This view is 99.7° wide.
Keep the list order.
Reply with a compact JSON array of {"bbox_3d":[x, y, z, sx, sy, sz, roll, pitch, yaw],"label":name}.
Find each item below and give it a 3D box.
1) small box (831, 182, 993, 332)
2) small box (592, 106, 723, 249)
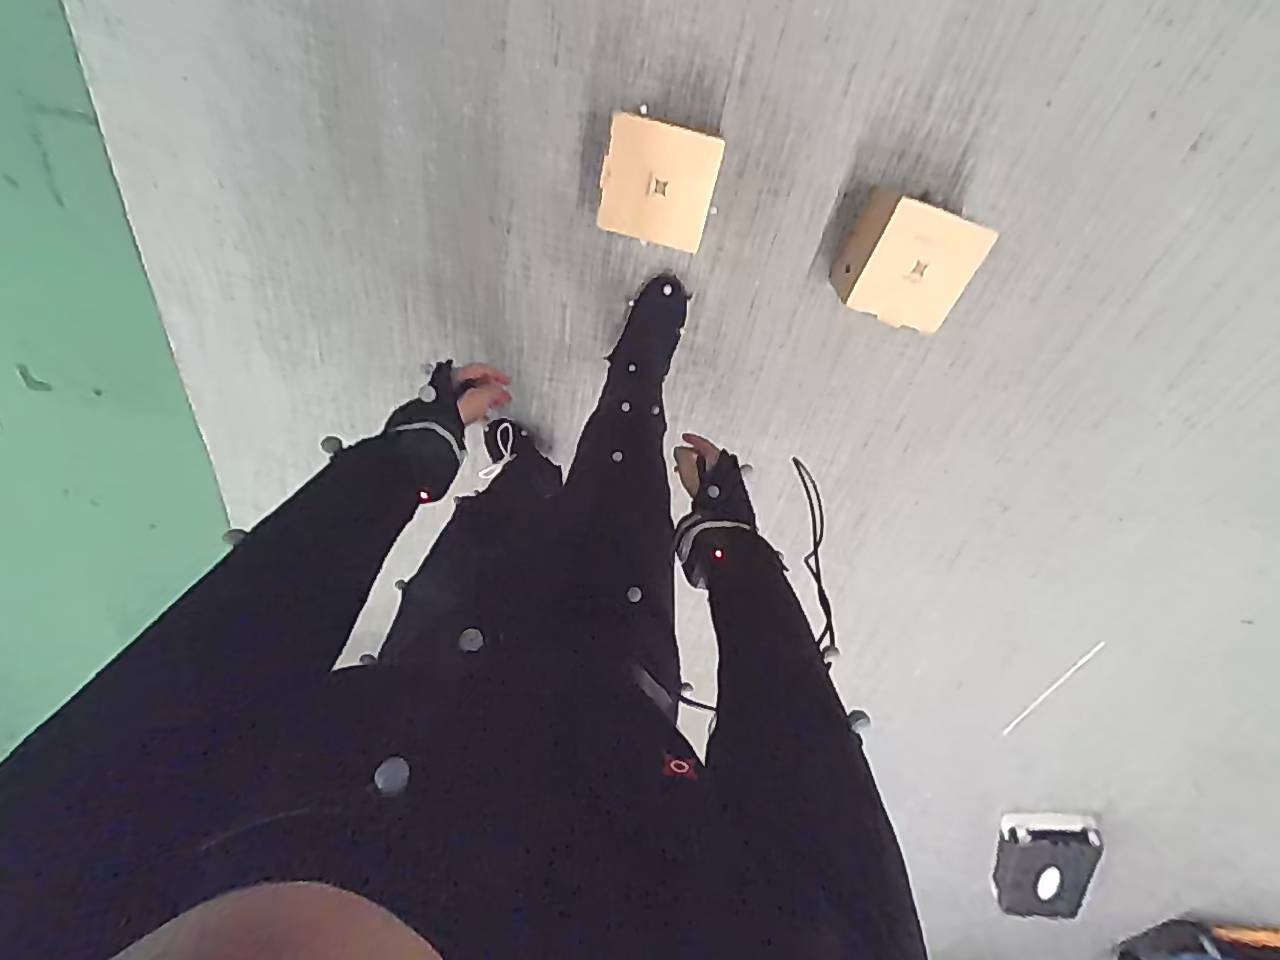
[{"bbox_3d":[0.445,-0.384,0.924,0.168,0.176,0.179,17,125,-5],"label":"small box"},{"bbox_3d":[0.033,-0.508,0.901,0.179,0.176,0.168,15,126,-1],"label":"small box"}]
